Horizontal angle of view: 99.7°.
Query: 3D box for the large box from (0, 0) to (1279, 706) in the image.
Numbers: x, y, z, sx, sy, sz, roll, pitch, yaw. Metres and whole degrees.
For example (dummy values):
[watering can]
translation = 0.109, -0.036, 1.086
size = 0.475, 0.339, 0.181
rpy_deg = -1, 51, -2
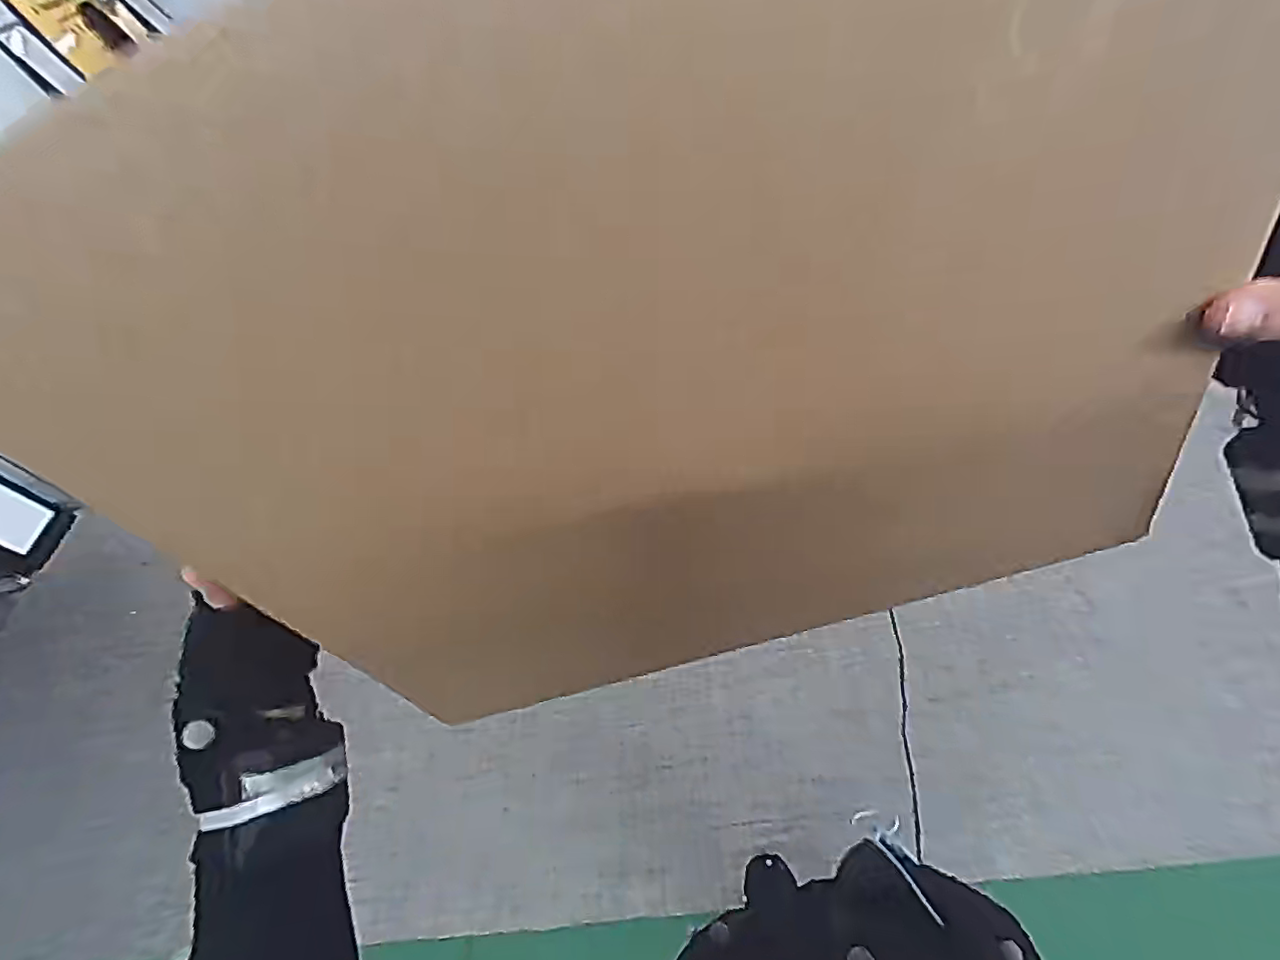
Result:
[large box]
translation = 0.004, -0.115, 0.329
size = 0.408, 0.320, 0.320
rpy_deg = -18, 41, 10
